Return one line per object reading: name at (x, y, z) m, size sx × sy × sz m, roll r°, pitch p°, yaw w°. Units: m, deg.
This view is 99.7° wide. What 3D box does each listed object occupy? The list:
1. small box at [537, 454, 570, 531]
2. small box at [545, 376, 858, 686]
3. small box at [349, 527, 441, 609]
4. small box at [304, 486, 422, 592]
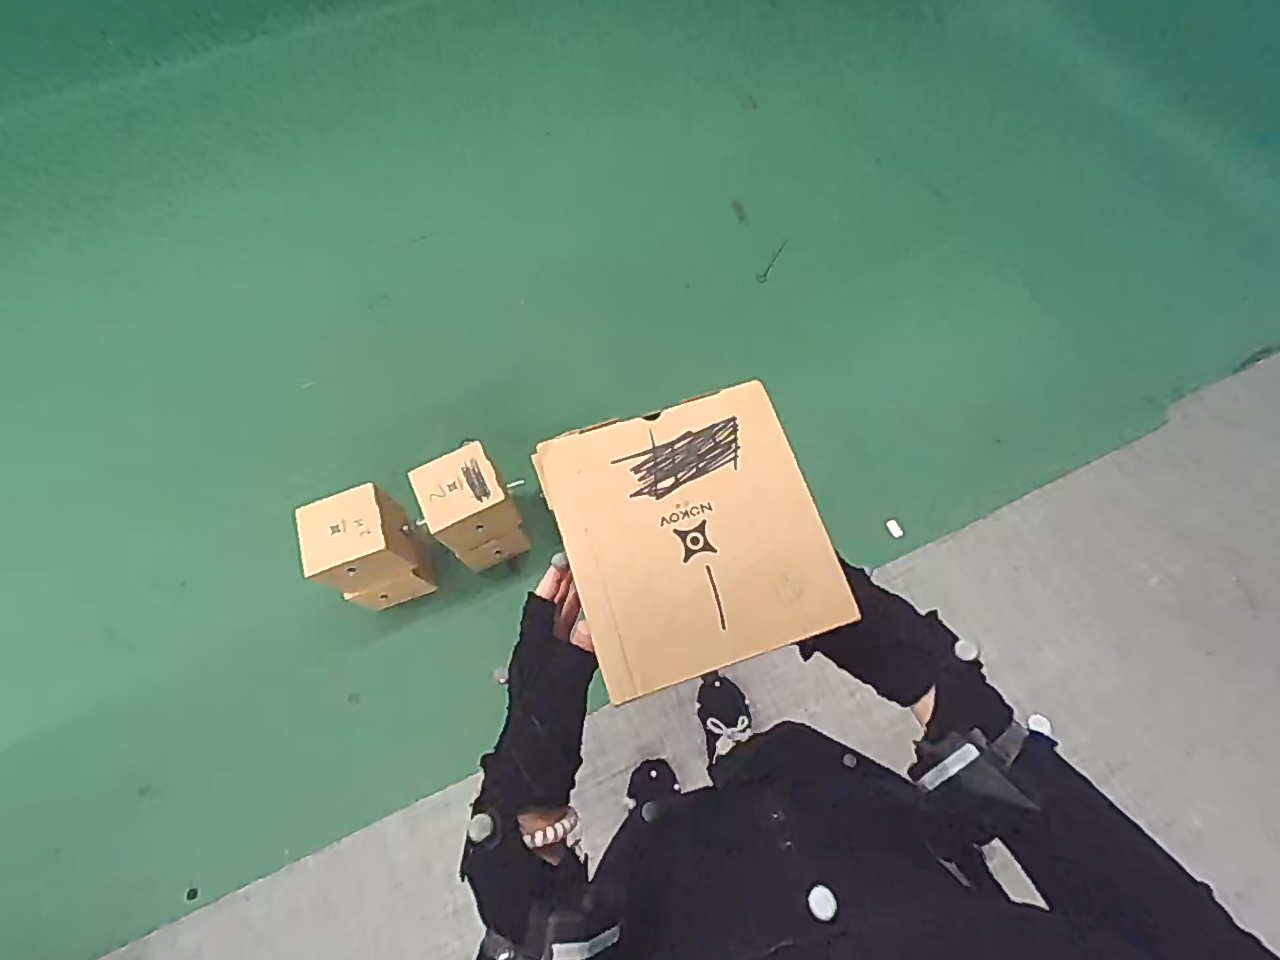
small box at (-0.161, 0.017, 1.463) m, size 0.179 × 0.176 × 0.168 m, roll -20°, pitch 67°, yaw -6°
small box at (0.034, 0.049, 0.430) m, size 0.168 × 0.176 × 0.179 m, roll -17°, pitch 74°, yaw -6°
small box at (-0.630, 0.220, 1.391) m, size 0.168 × 0.176 × 0.179 m, roll -19°, pitch 66°, yaw -6°
small box at (-0.632, 0.142, 1.245) m, size 0.179 × 0.176 × 0.168 m, roll -20°, pitch 67°, yaw -6°
